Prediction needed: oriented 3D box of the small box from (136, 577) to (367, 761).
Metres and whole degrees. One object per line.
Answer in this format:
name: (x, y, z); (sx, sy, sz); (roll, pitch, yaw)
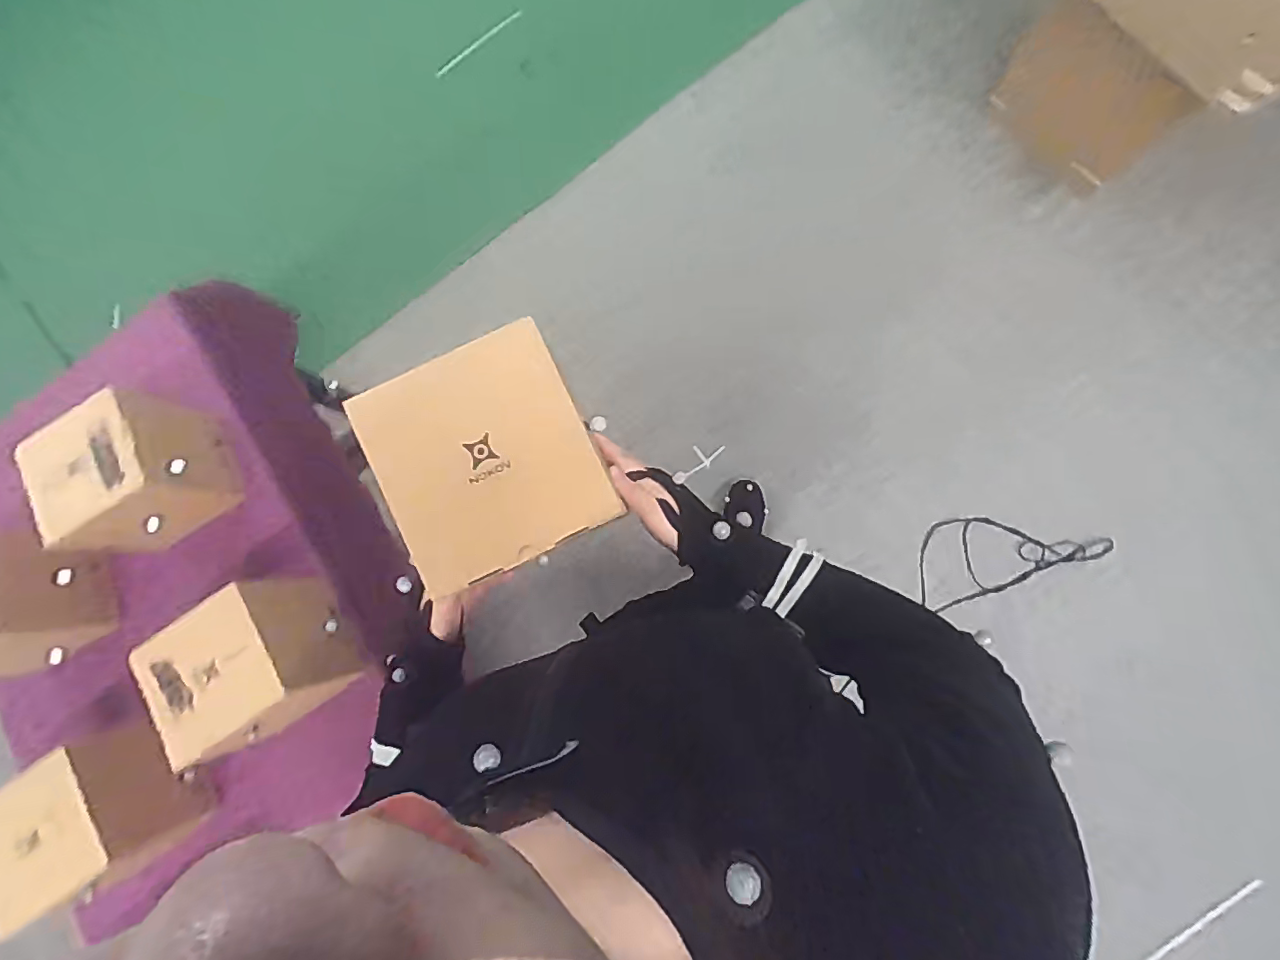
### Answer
small box: (-0.536, 0.253, 0.767); (0.179, 0.176, 0.168); (-35, 78, 2)

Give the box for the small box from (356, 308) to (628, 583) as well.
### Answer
small box: (-0.119, -0.024, 0.505); (0.168, 0.176, 0.179); (-24, 88, 0)

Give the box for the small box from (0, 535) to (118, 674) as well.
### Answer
small box: (-0.974, 0.193, 0.842); (0.179, 0.176, 0.168); (-30, 77, 2)

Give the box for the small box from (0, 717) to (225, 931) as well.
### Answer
small box: (-0.756, 0.467, 0.769); (0.179, 0.176, 0.168); (-35, 79, 1)
